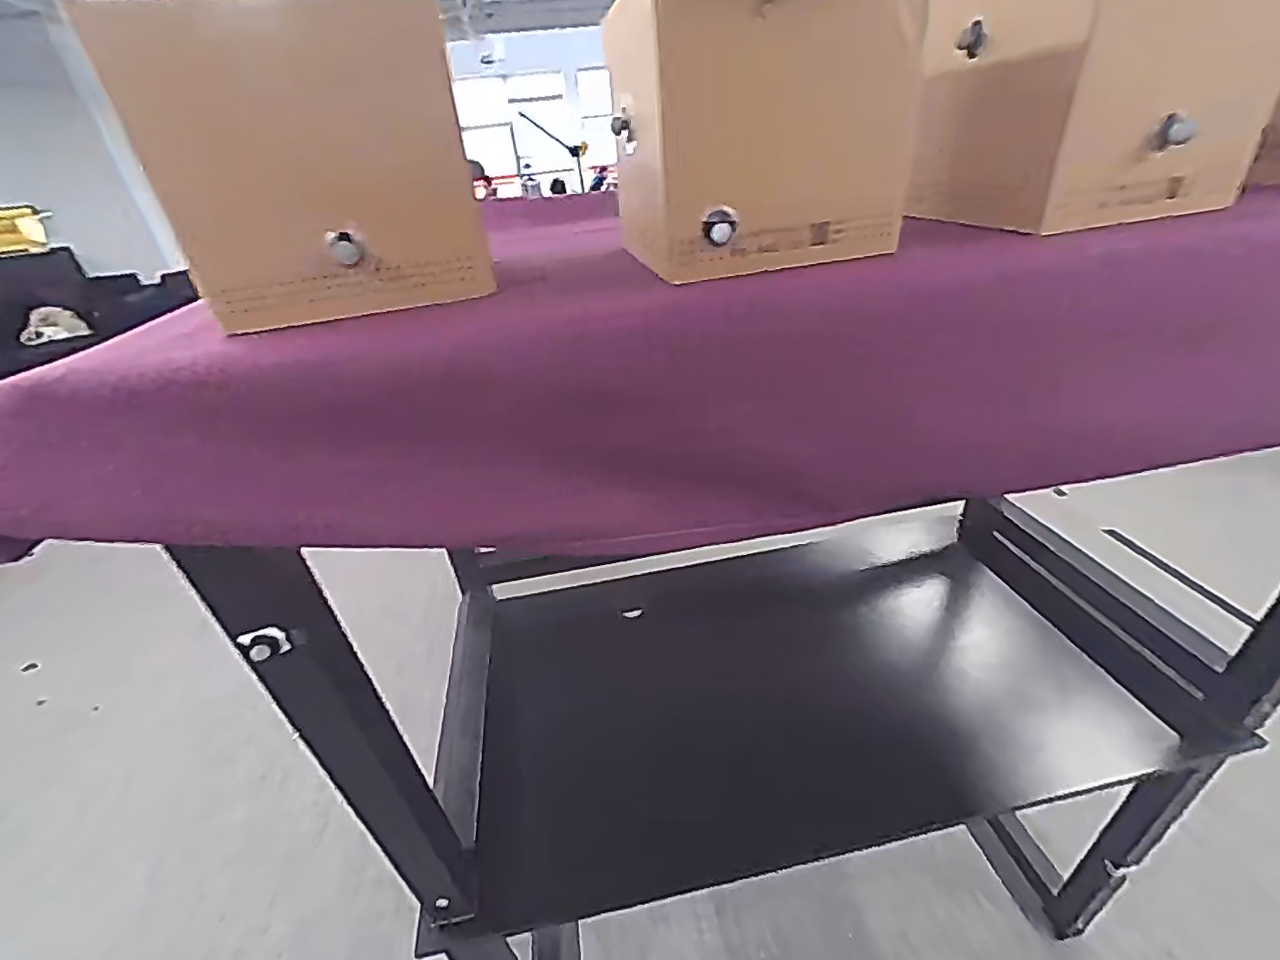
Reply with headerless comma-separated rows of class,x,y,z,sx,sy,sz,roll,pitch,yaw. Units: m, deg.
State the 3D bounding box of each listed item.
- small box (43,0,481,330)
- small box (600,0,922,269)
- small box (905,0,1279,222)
small box,-0.214,-0.215,0.371,0.179,0.176,0.168,-14,33,-14
small box,0.074,-0.254,0.383,0.168,0.176,0.179,-11,31,-7
small box,0.329,-0.297,0.405,0.168,0.176,0.179,-11,32,-7
